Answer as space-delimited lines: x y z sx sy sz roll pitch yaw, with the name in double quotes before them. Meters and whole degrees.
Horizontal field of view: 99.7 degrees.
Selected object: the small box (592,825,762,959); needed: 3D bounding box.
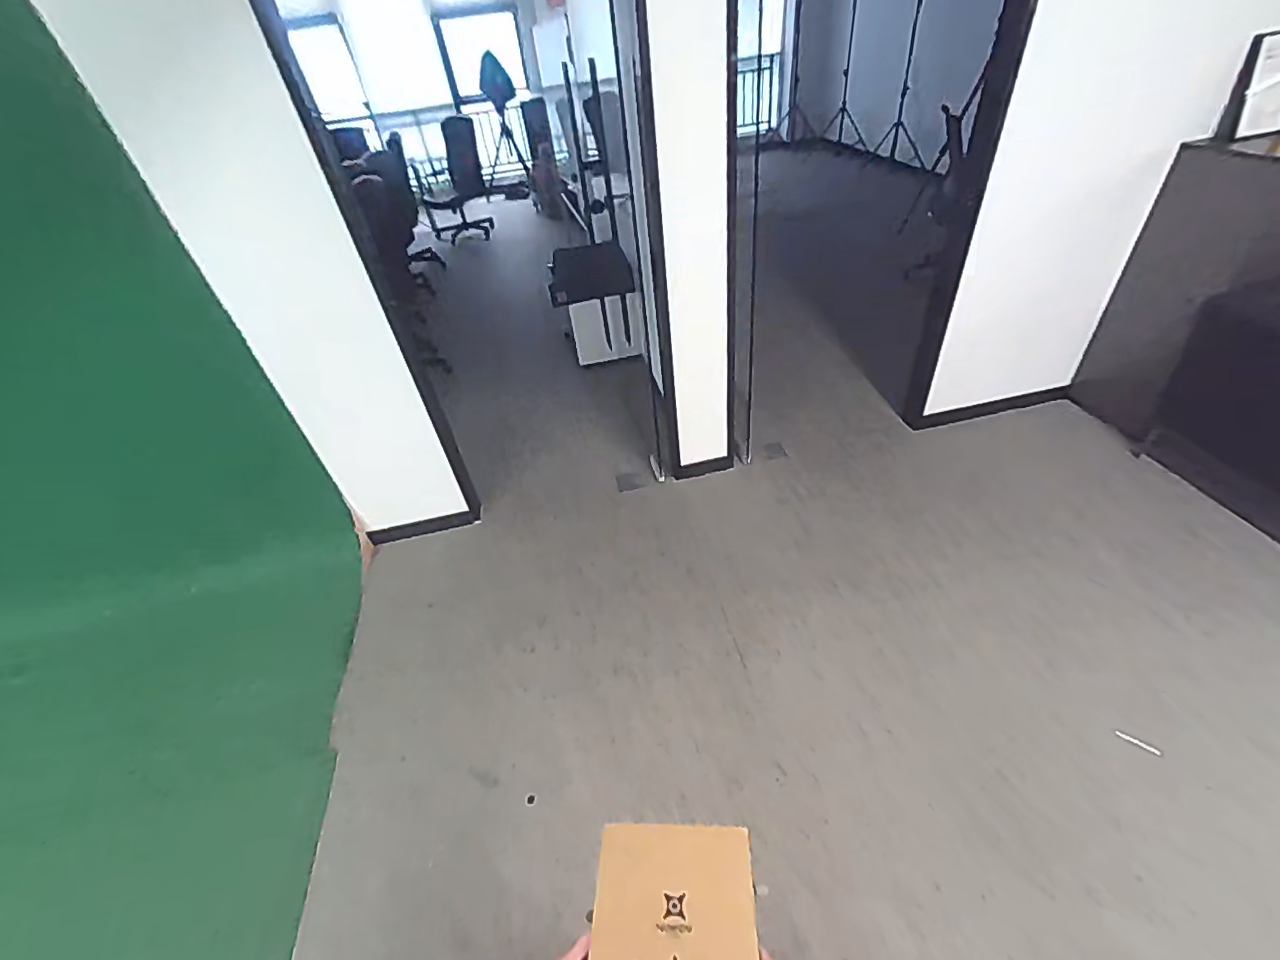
"small box" 0.043 0.512 0.587 0.168 0.176 0.179 -2 32 6
